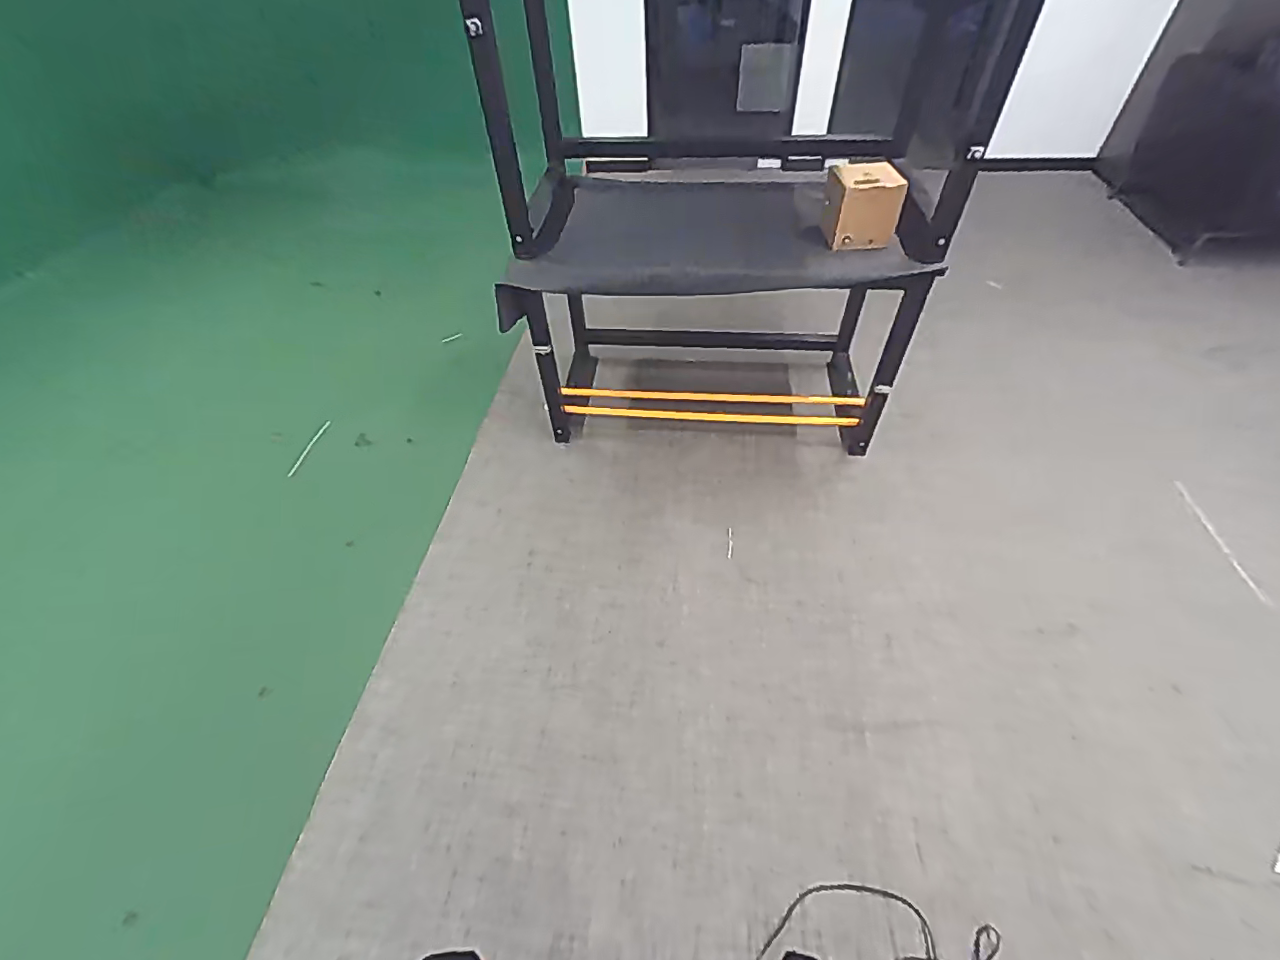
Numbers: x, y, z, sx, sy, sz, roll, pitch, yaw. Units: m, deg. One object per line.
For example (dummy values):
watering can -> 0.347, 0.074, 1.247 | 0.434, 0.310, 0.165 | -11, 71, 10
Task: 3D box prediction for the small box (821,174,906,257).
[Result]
small box -> 0.629, -0.751, 1.543 | 0.168, 0.176, 0.179 | -2, 46, 2
